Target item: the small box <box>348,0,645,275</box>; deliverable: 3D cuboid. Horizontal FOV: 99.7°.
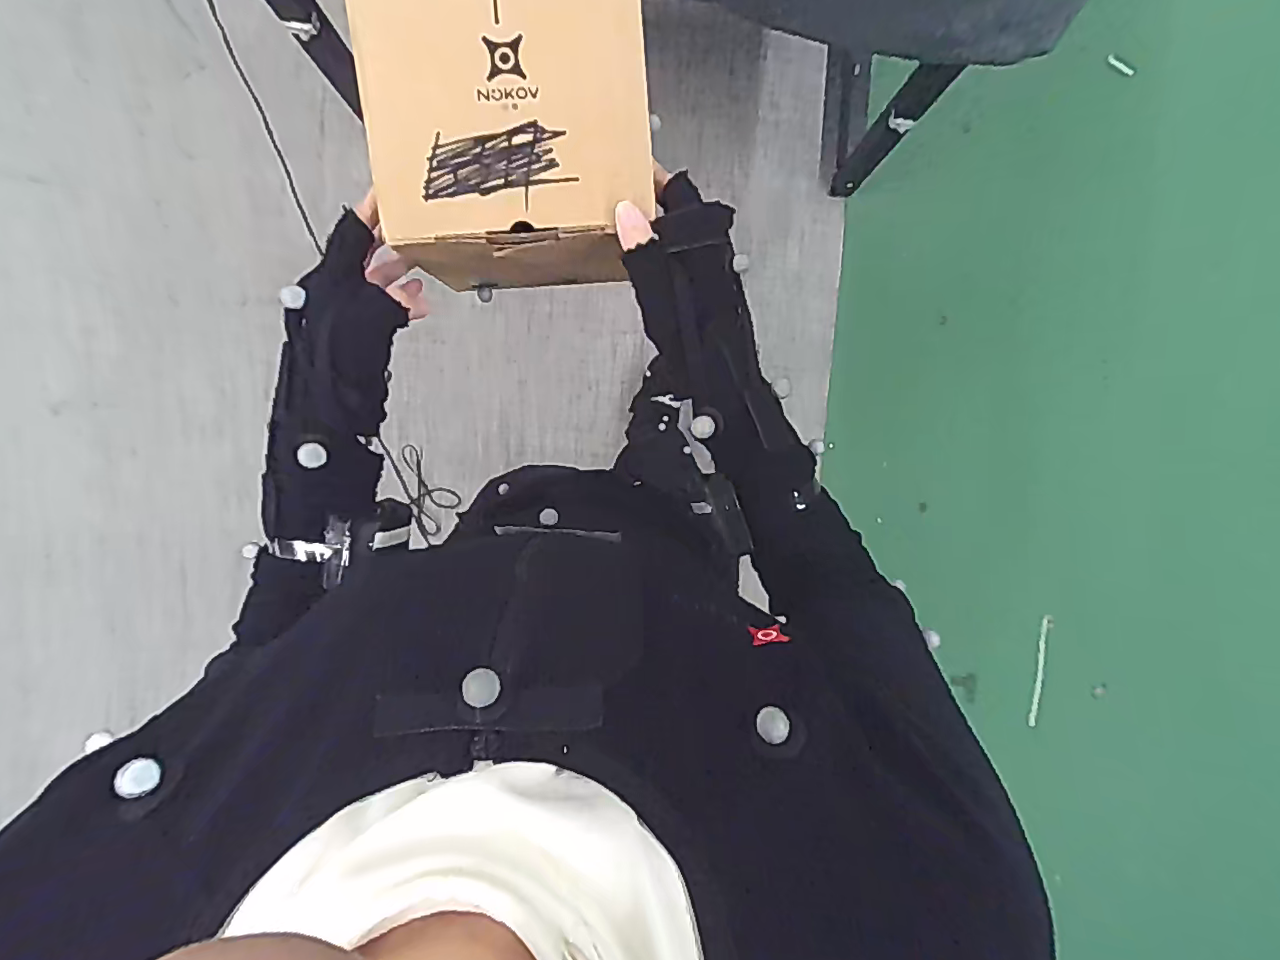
[{"bbox_3d":[-0.086,-0.255,0.393,0.168,0.176,0.179,-5,99,-3],"label":"small box"}]
